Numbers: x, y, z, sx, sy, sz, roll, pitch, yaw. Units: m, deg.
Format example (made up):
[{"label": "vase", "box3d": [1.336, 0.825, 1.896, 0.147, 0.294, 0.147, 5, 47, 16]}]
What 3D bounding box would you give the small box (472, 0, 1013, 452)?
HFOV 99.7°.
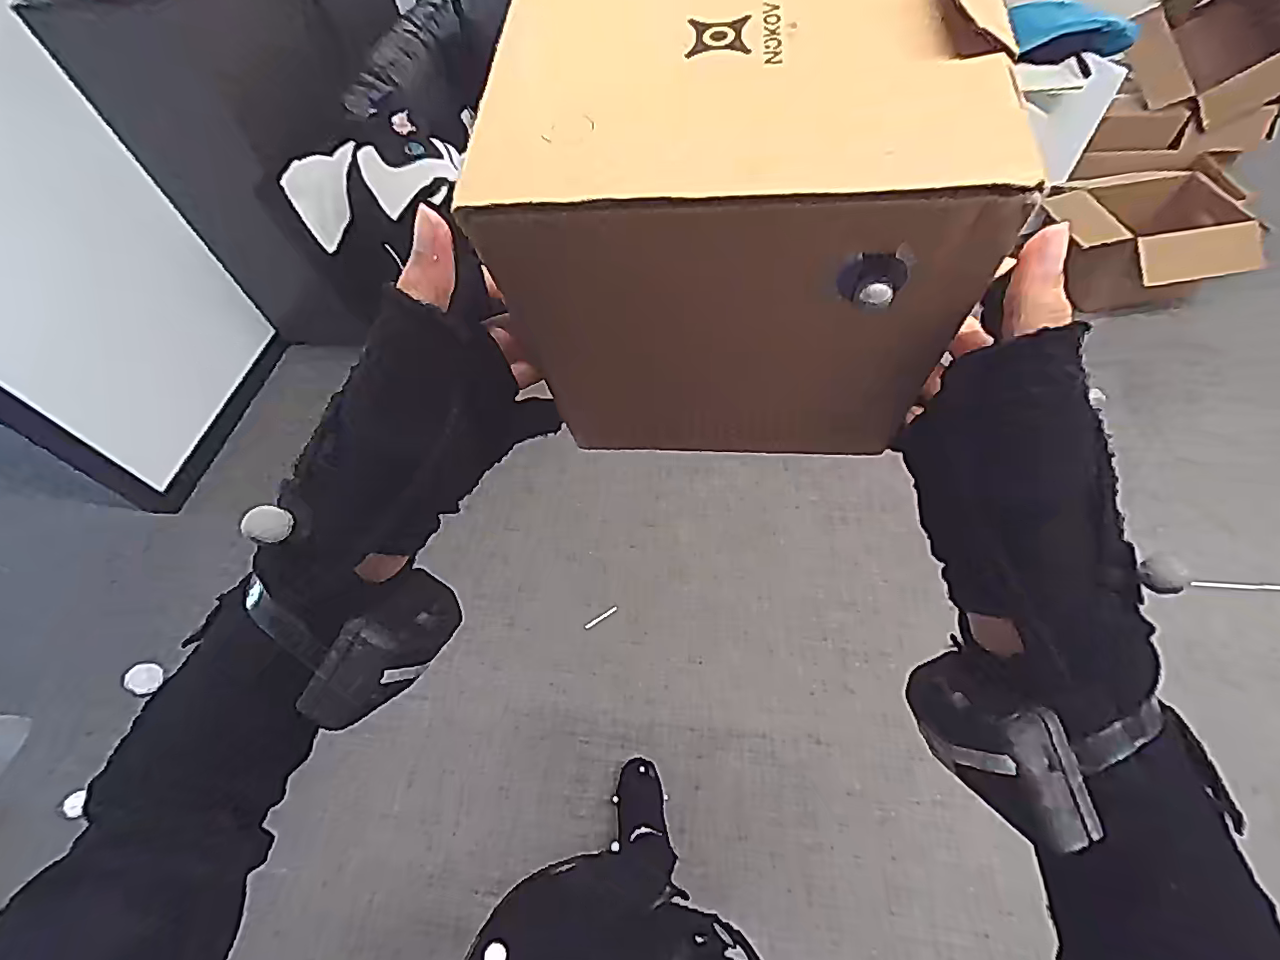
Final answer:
[{"label": "small box", "box3d": [0.043, -0.123, 0.278, 0.179, 0.176, 0.168, 1, 66, 8]}]
